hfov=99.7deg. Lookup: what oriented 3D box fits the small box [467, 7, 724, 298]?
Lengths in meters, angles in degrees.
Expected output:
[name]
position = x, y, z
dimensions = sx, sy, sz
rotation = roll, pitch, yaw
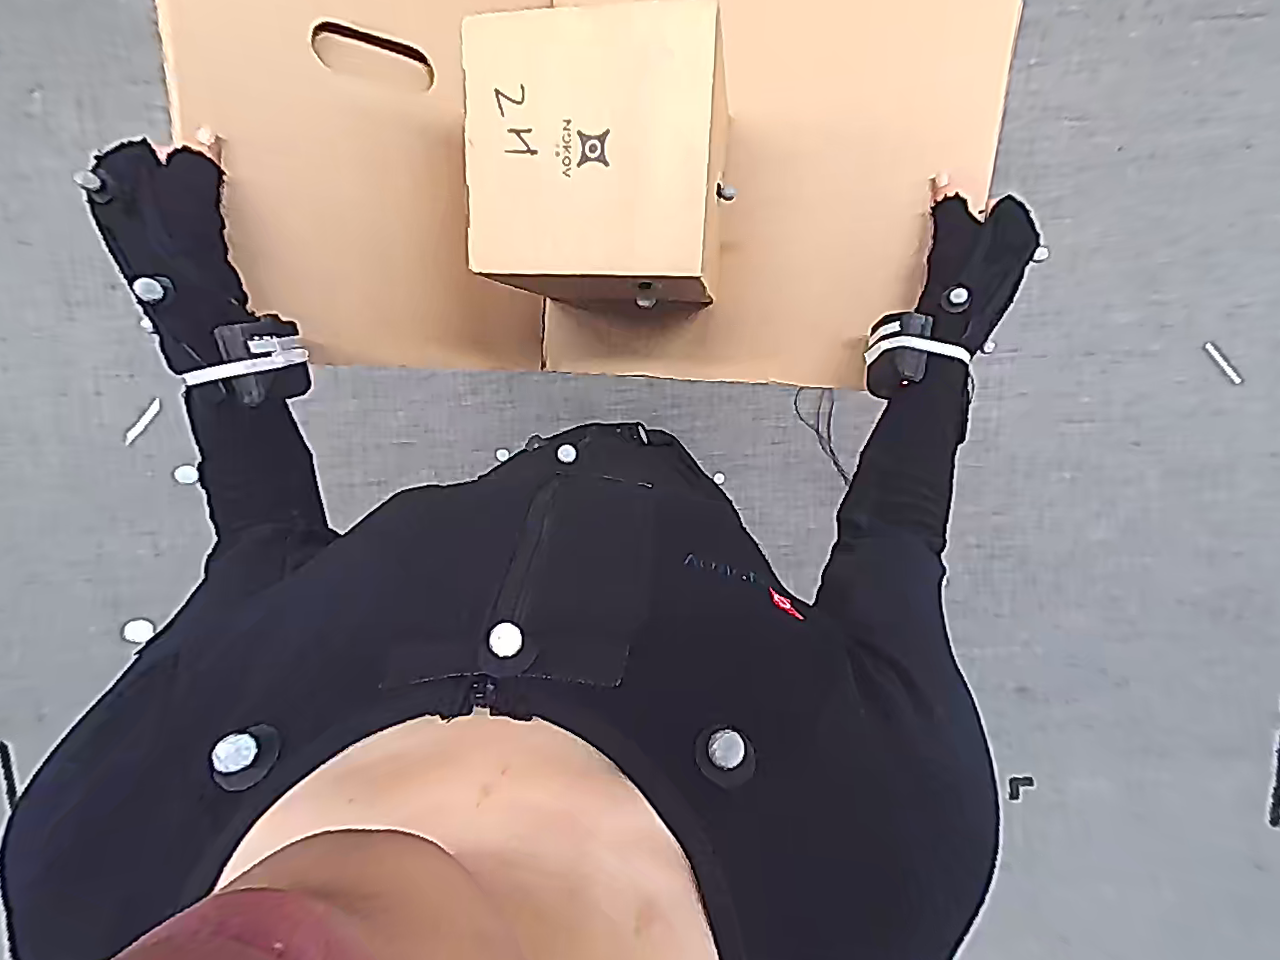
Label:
[small box]
position = -0.024, -0.249, 0.454
dimensions = 0.179, 0.176, 0.168
rotation = 5, 103, 11
